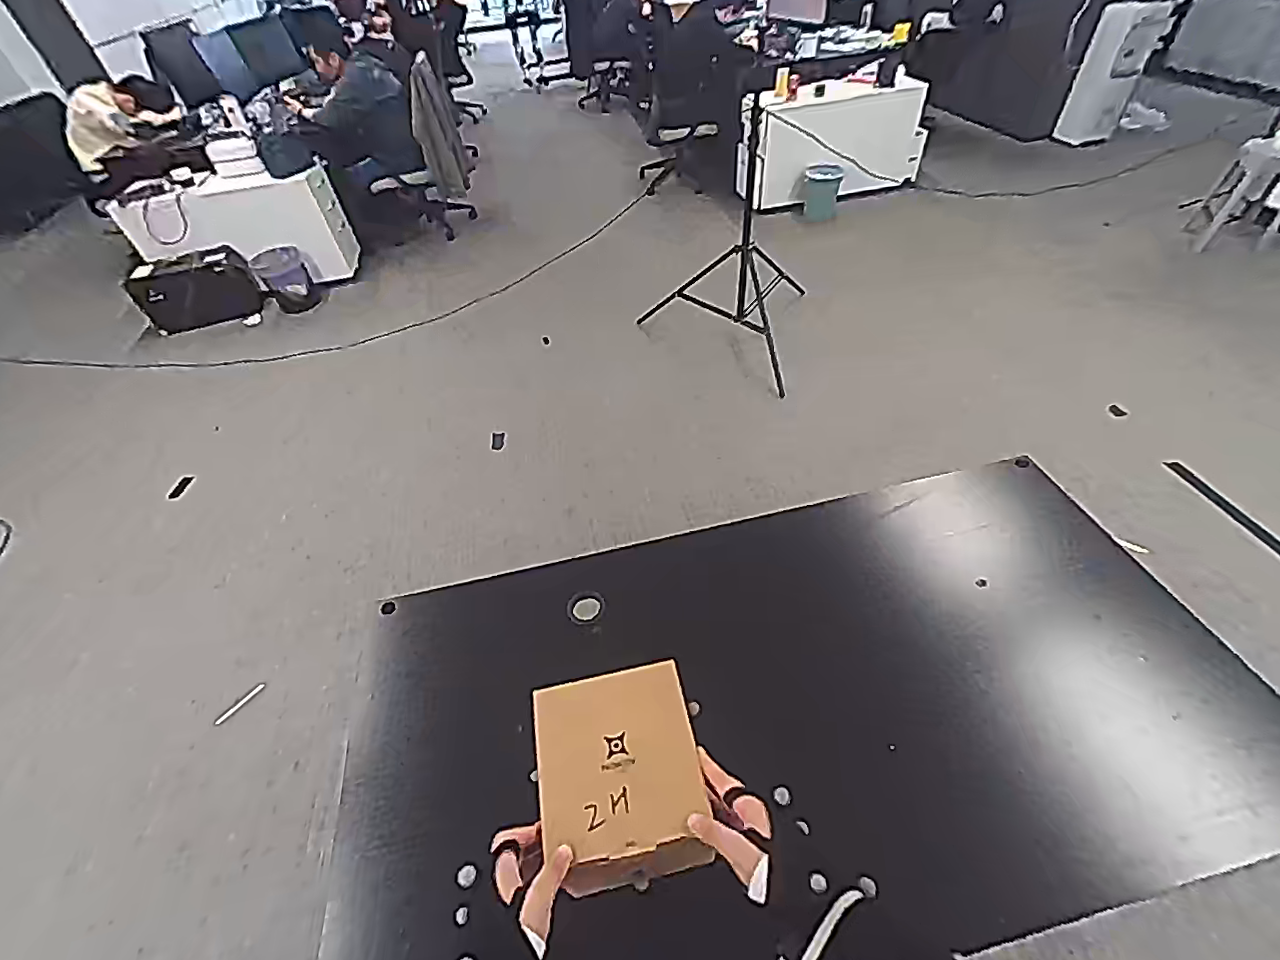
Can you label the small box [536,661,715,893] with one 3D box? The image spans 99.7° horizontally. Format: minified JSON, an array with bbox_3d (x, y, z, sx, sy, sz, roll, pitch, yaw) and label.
[{"bbox_3d":[-0.019,0.339,0.619,0.168,0.176,0.179,-11,47,-4],"label":"small box"}]
